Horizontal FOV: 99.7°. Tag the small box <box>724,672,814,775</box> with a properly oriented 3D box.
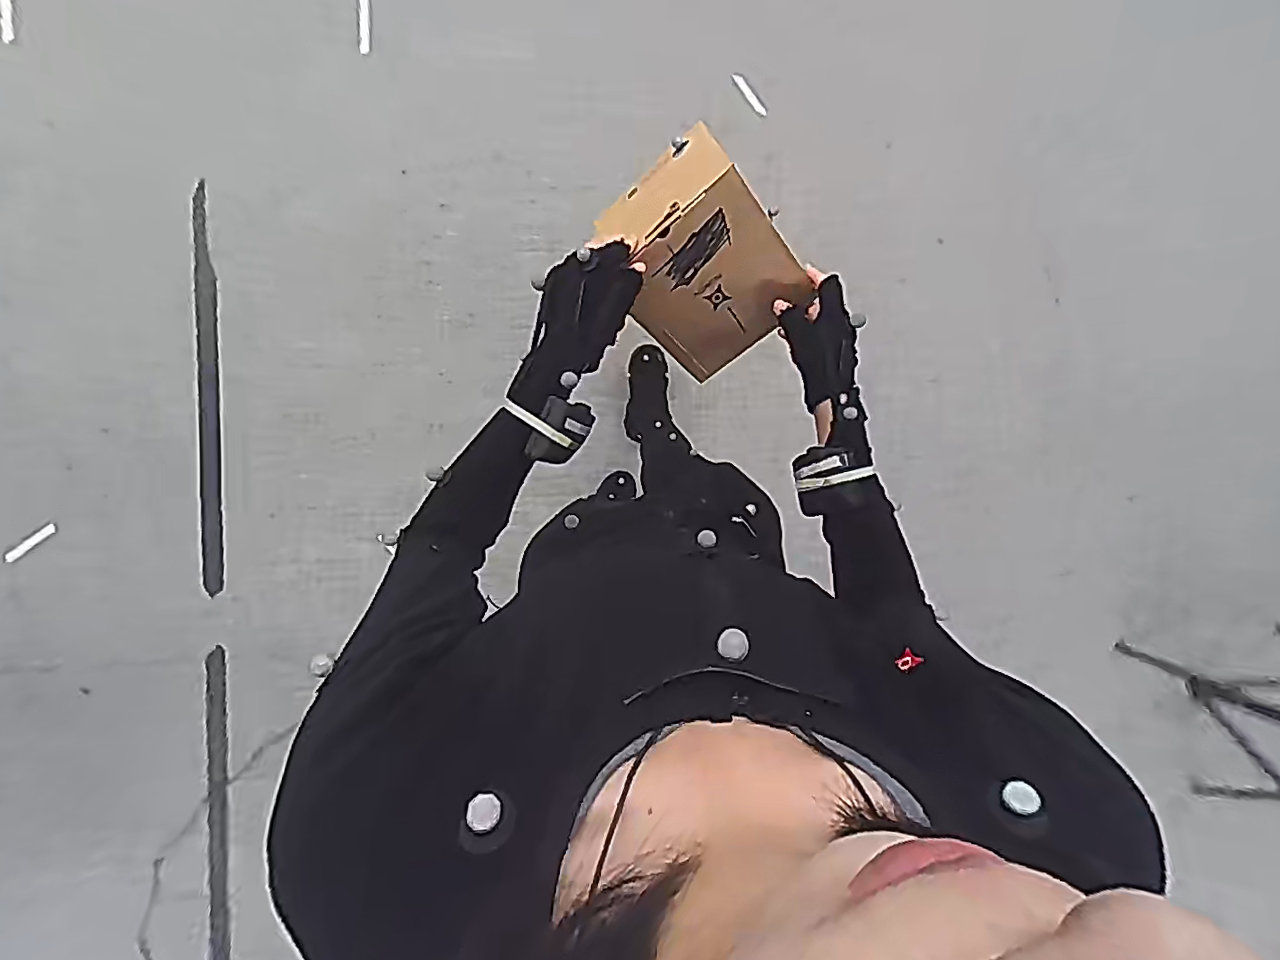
[{"bbox_3d":[0.351,0.665,1.495,0.168,0.176,0.179,-19,94,-6],"label":"small box"}]

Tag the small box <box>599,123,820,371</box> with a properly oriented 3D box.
[{"bbox_3d":[0.067,-0.266,0.613,0.168,0.176,0.179,-36,129,25],"label":"small box"}]
